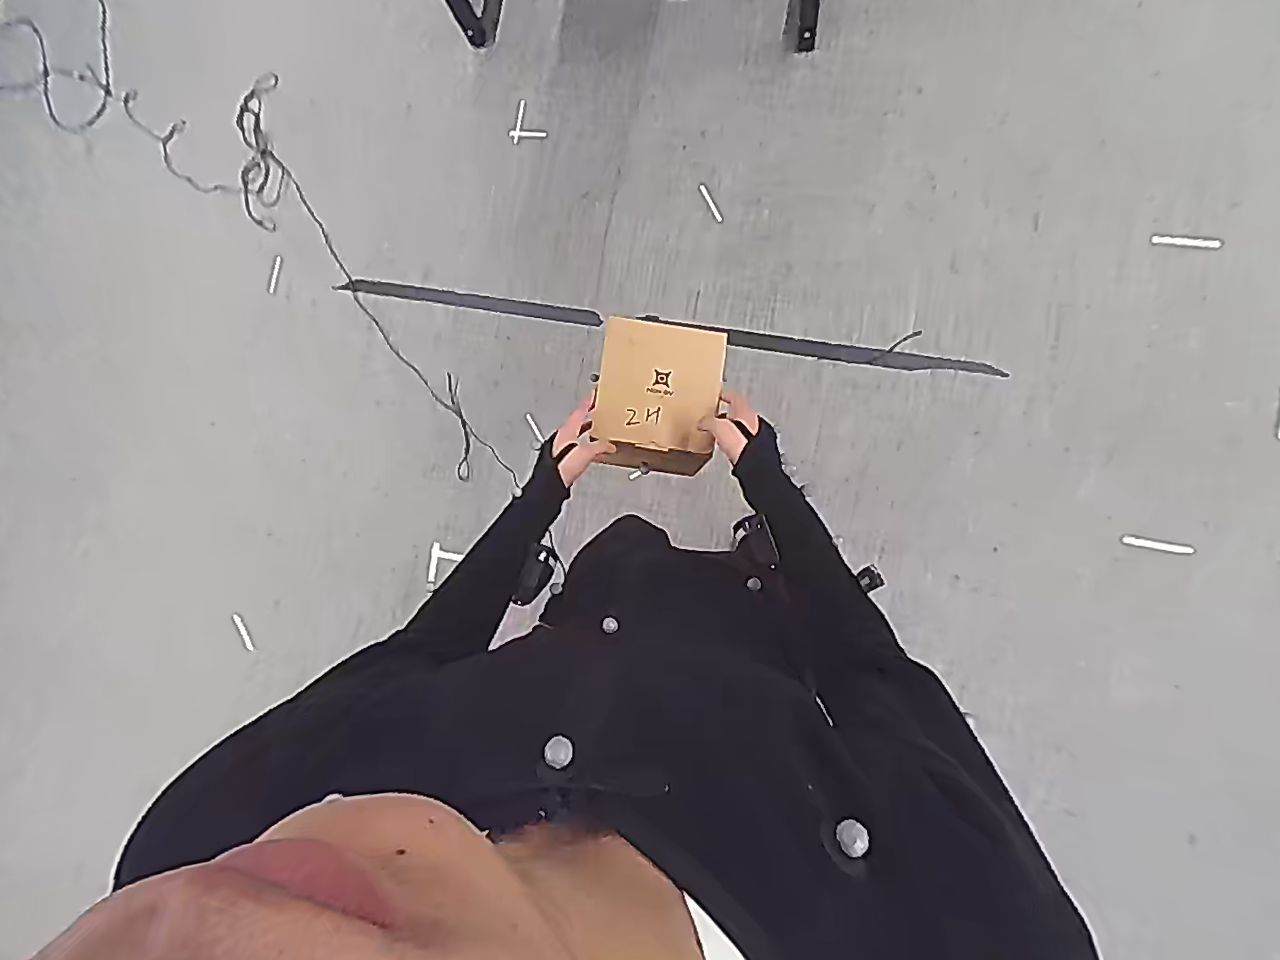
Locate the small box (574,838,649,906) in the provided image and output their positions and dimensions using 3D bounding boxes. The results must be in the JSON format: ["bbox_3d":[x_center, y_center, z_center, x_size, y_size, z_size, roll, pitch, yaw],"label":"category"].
[{"bbox_3d":[-0.081,1.146,1.492,0.168,0.176,0.179,14,90,11],"label":"small box"}]

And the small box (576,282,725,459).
[{"bbox_3d":[0.009,-0.136,0.733,0.168,0.176,0.179,8,82,-2],"label":"small box"}]
